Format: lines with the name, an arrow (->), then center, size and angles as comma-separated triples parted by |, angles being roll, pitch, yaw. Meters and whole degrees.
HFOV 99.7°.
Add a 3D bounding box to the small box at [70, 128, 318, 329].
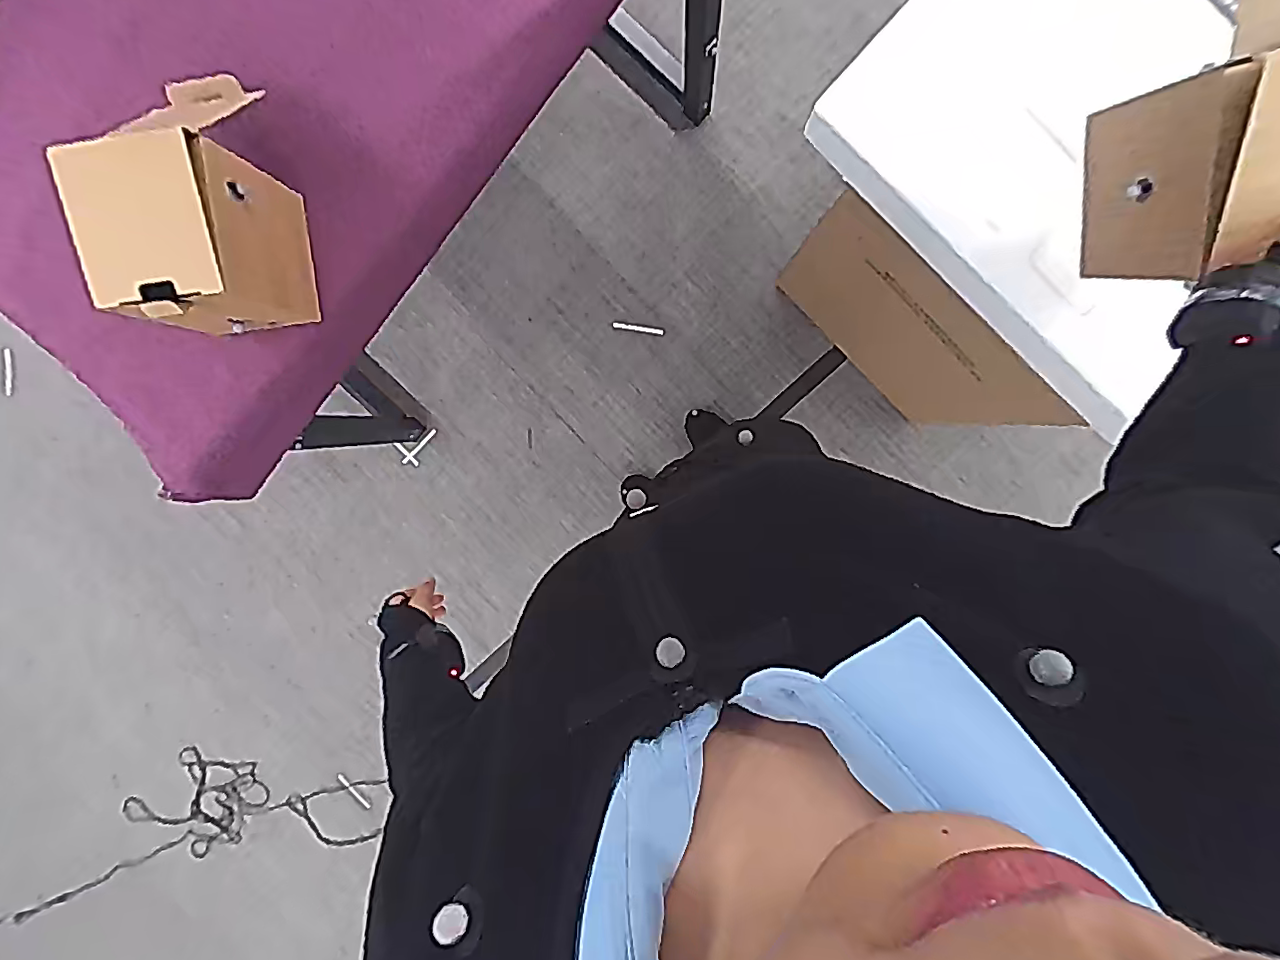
small box -> -0.549, -0.305, 0.690 | 0.168, 0.176, 0.179 | -5, 95, 6
